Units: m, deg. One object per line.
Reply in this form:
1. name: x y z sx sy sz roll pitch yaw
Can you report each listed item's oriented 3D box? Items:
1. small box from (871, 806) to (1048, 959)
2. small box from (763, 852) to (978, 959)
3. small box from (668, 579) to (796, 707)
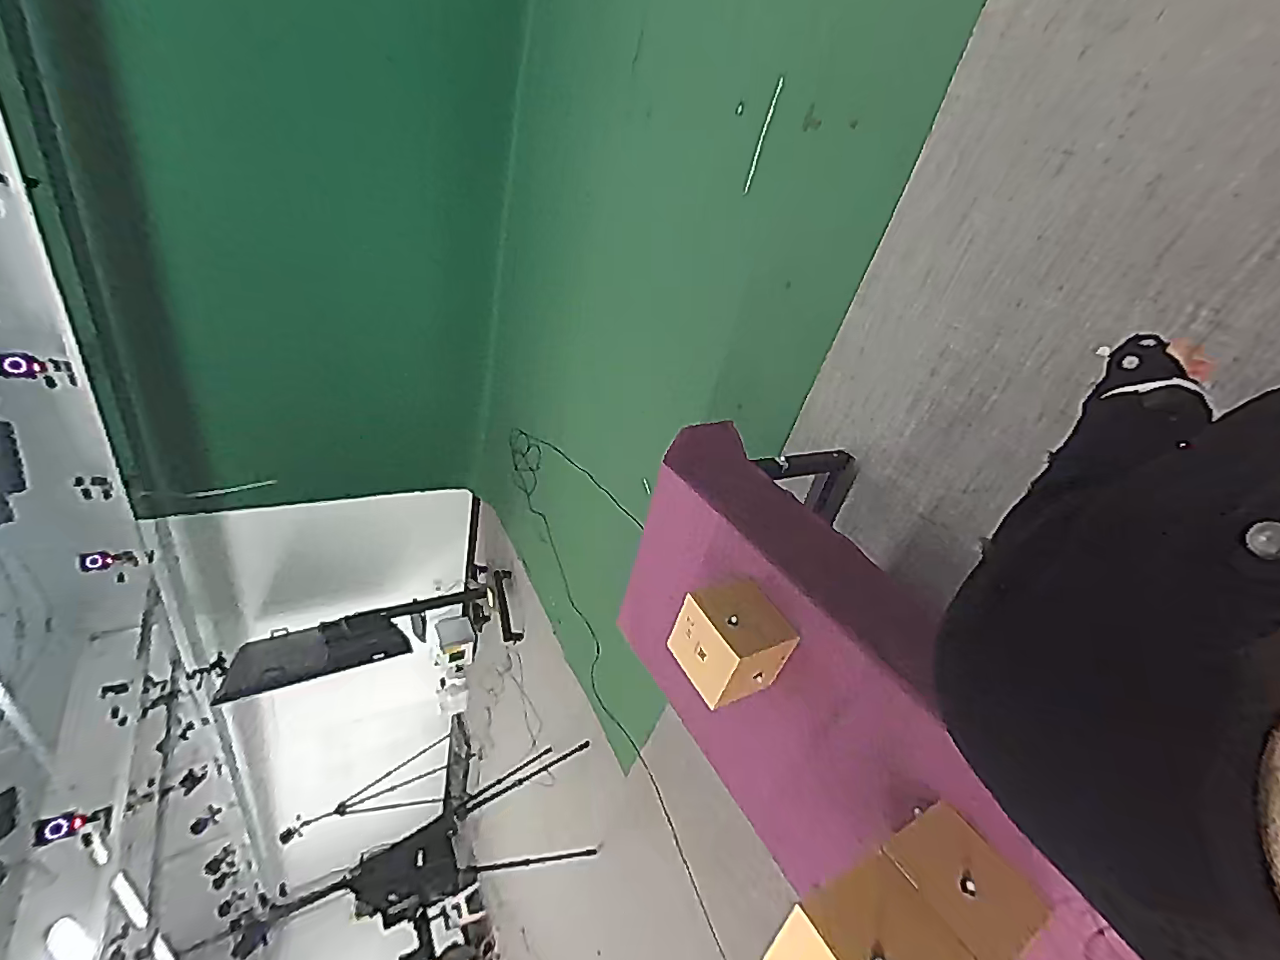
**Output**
1. small box: 0.440 0.619 0.794 0.179 0.176 0.168 43 131 44
2. small box: 0.300 0.635 0.711 0.179 0.176 0.168 42 130 45
3. small box: 0.191 0.329 1.127 0.179 0.176 0.168 51 135 40
